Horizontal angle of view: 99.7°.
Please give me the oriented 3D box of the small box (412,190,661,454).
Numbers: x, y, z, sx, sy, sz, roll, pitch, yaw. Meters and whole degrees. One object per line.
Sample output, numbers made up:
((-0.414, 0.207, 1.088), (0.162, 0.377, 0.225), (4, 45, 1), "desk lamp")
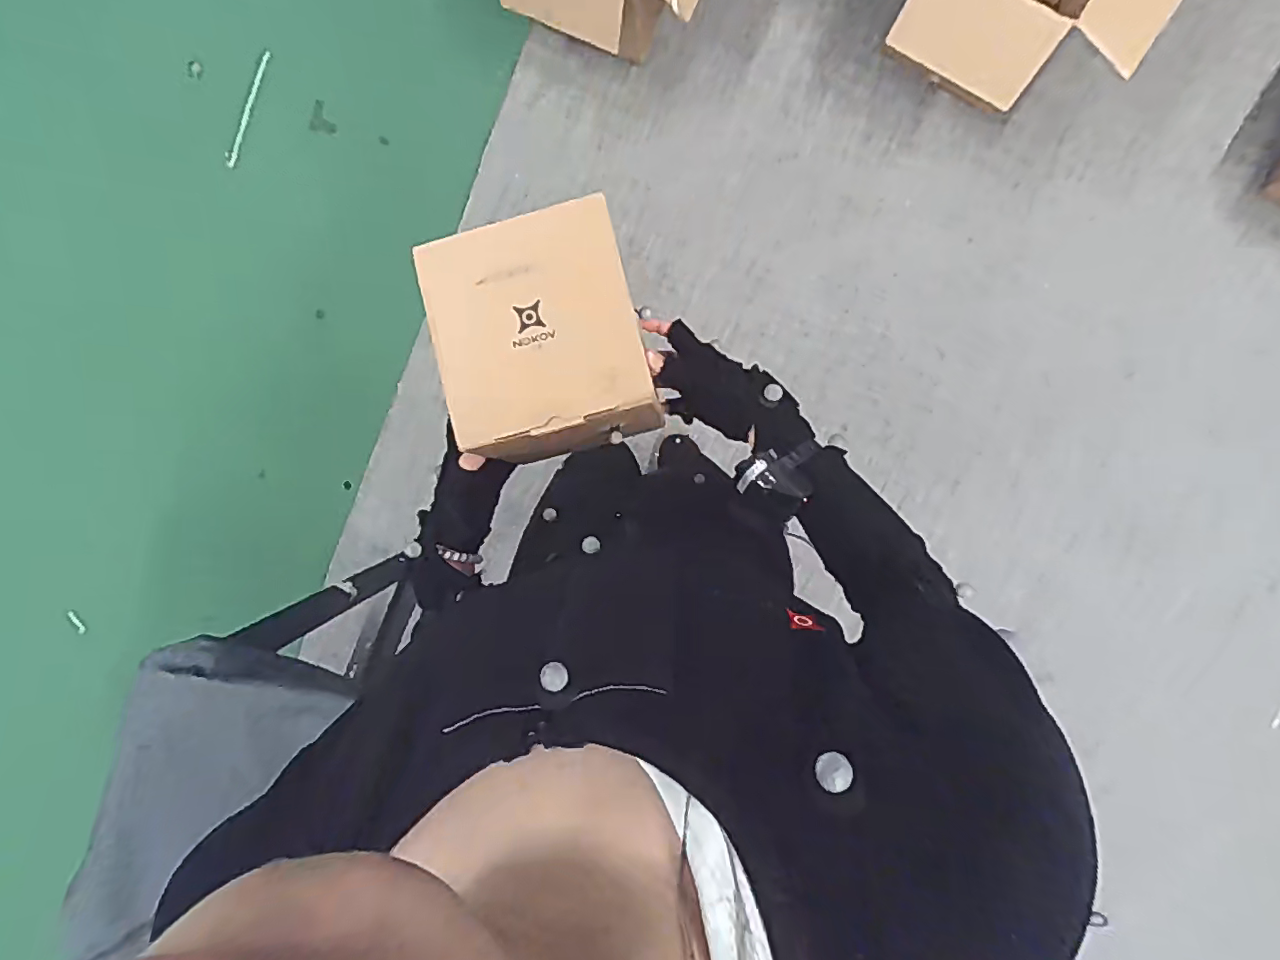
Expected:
((-0.079, -0.125, 0.507), (0.168, 0.176, 0.179), (-15, 88, 4), "small box")
